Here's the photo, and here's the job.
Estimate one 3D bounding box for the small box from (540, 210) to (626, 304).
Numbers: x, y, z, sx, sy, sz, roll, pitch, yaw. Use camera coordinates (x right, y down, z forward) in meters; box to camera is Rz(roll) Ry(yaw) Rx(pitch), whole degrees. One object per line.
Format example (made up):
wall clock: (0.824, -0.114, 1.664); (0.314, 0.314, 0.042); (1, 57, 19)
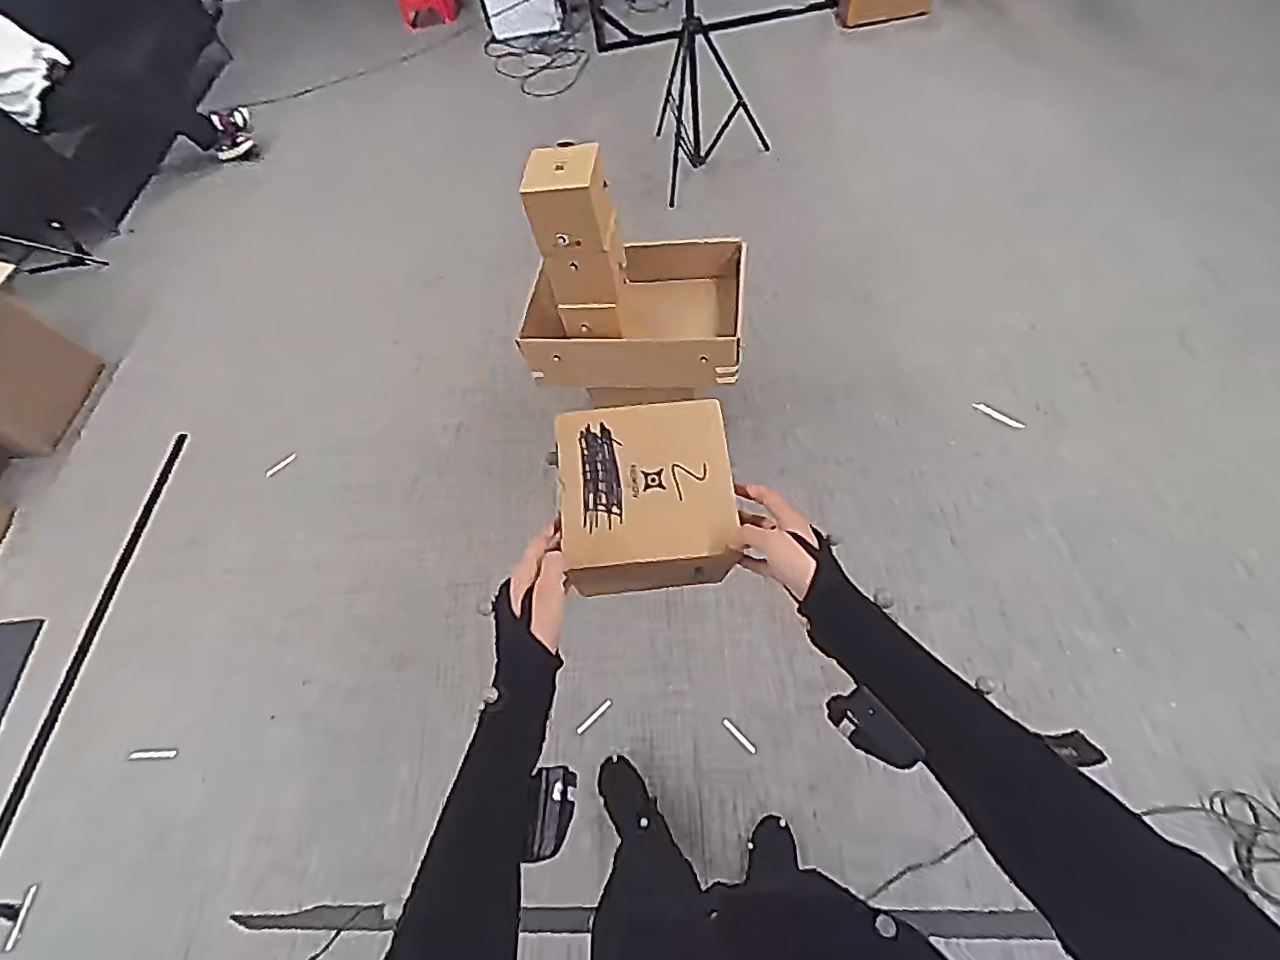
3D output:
small box: (-0.145, -0.585, 1.432); (0.179, 0.176, 0.168); (3, 61, 10)

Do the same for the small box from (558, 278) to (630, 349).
small box: (-0.127, -0.497, 1.569); (0.168, 0.176, 0.179); (1, 60, 9)

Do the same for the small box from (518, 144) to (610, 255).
small box: (-0.172, -0.666, 1.292); (0.168, 0.176, 0.179); (0, 59, 10)
